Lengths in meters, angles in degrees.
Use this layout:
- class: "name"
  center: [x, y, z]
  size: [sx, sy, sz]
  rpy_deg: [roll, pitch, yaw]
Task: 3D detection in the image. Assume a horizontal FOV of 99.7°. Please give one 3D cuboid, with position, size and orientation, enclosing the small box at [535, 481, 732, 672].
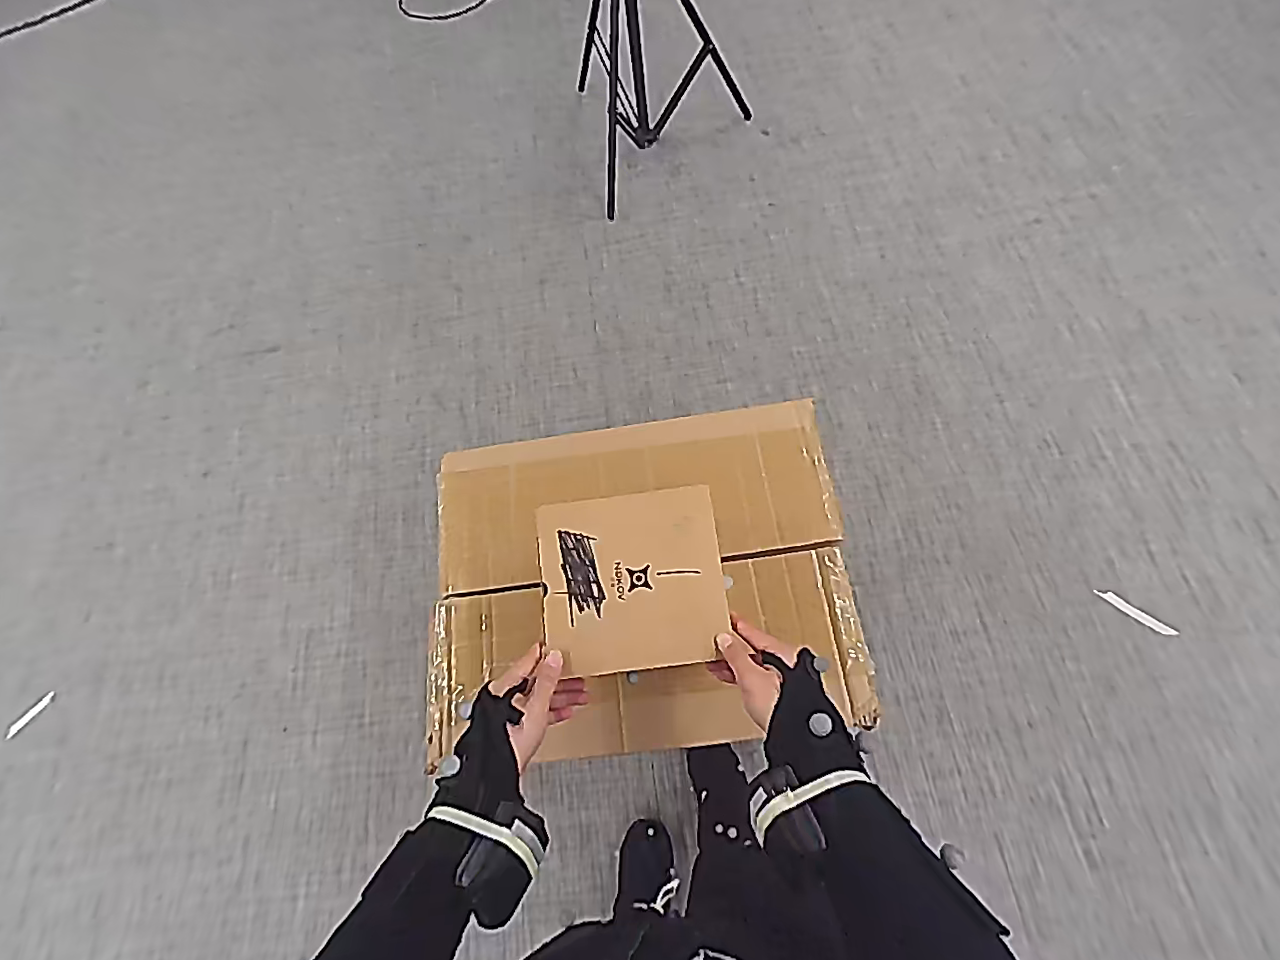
- class: "small box"
  center: [-0.003, 0.111, 0.586]
  size: [0.179, 0.176, 0.168]
  rpy_deg: [-8, 74, 3]
